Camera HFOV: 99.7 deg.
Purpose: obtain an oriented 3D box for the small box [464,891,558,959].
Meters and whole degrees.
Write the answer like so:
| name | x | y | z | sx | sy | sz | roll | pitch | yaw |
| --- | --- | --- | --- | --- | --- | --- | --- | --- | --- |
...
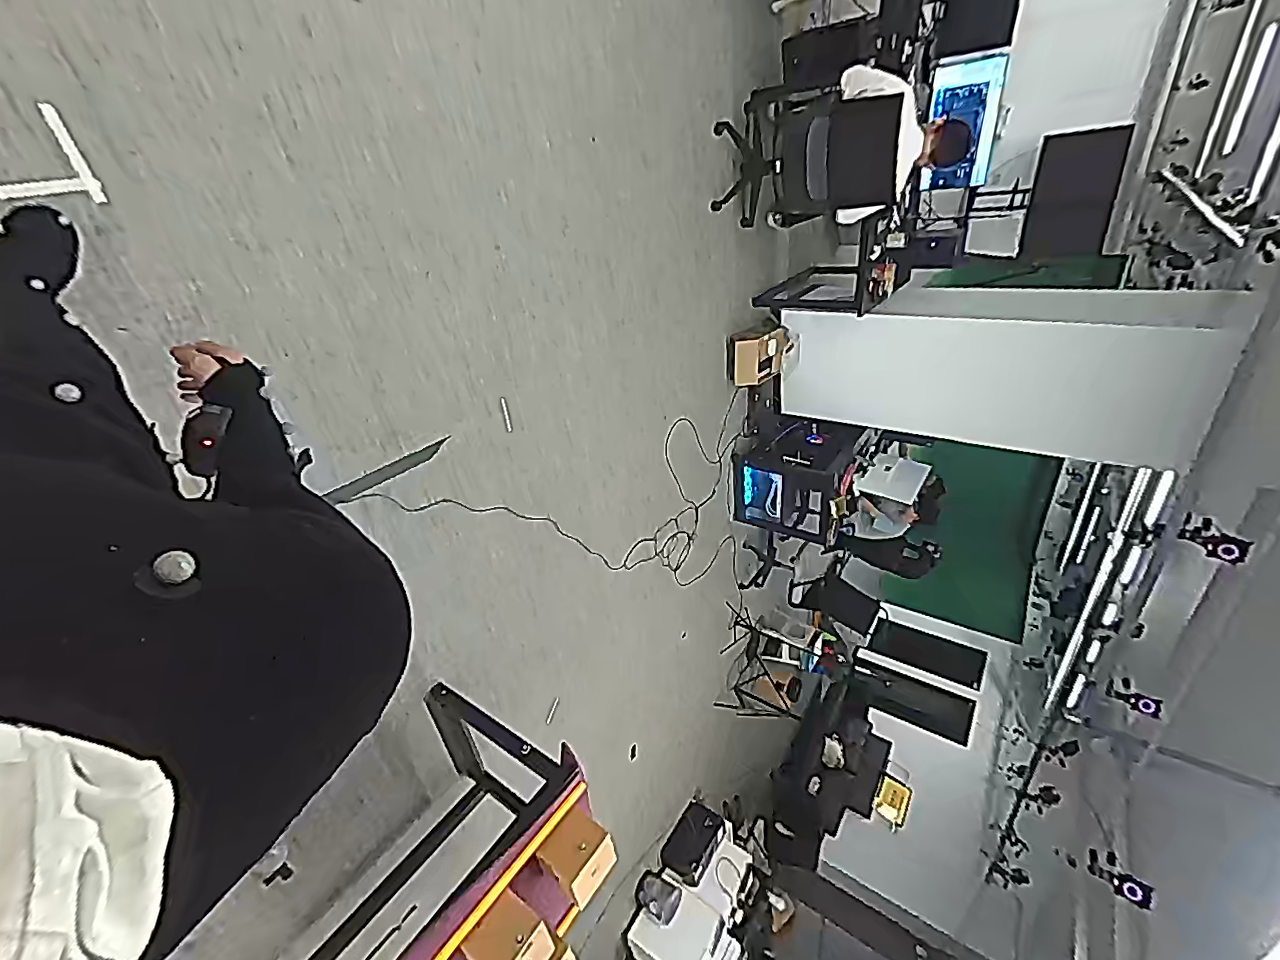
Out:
| name | x | y | z | sx | sy | sz | roll | pitch | yaw |
| --- | --- | --- | --- | --- | --- | --- | --- | --- | --- |
| small box | -0.353 | 1.290 | 1.490 | 0.168 | 0.176 | 0.179 | -38 | 131 | -43 |

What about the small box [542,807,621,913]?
| name | x | y | z | sx | sy | sz | roll | pitch | yaw |
| --- | --- | --- | --- | --- | --- | --- | --- | --- | --- |
| small box | -0.186 | 1.176 | 1.683 | 0.179 | 0.176 | 0.168 | -38 | 132 | -41 |
